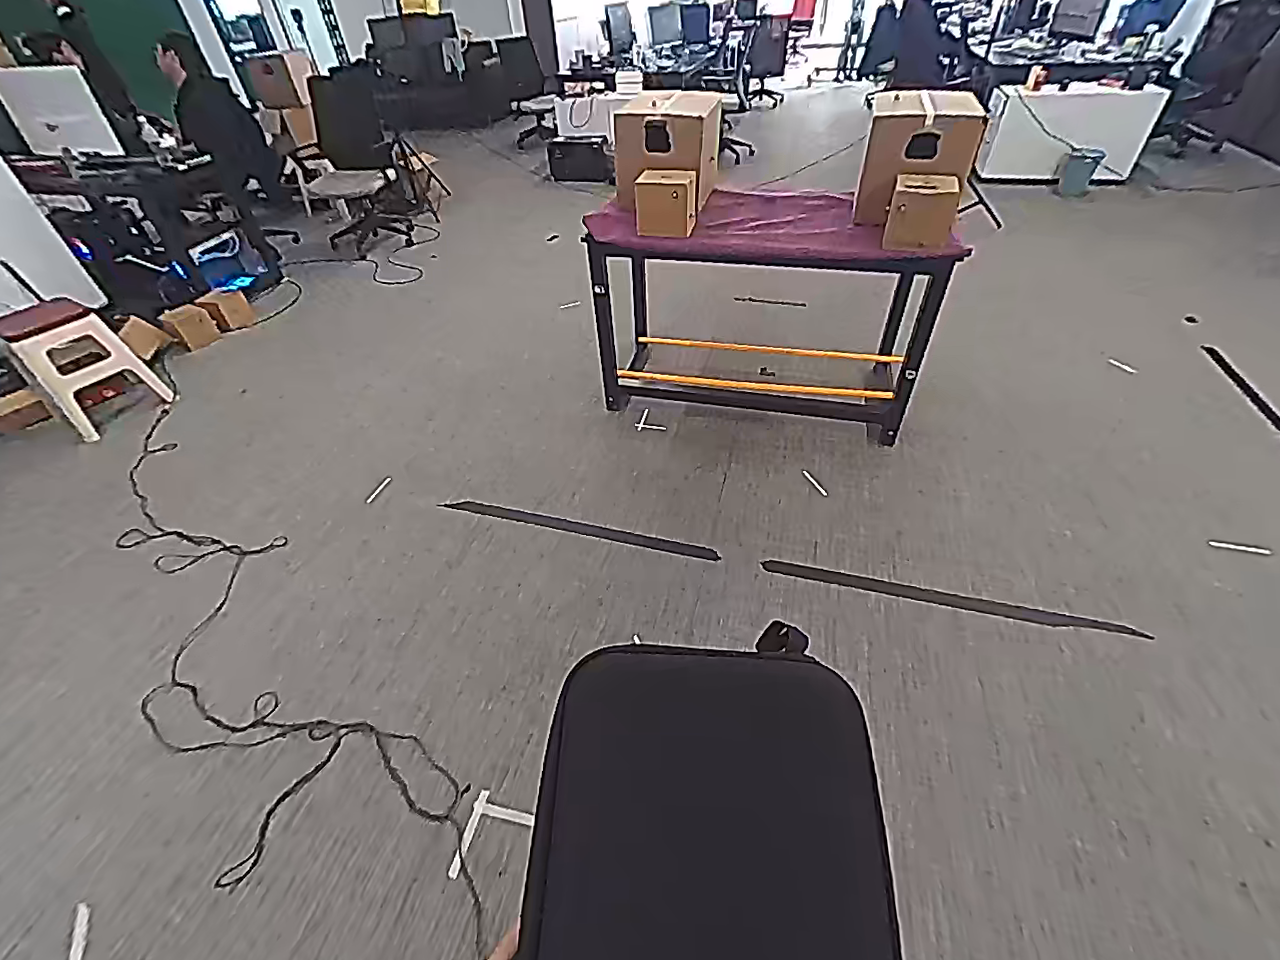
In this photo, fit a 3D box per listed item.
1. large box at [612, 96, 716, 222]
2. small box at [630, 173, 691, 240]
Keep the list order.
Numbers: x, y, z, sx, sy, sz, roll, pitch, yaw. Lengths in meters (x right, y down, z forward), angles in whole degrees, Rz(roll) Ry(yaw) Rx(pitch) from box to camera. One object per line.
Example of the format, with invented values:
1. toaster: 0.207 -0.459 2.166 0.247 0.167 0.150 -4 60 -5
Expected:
1. large box: 0.097 -1.209 2.027 0.320 0.320 0.408 9 47 11
2. small box: 0.073 -0.925 1.827 0.179 0.176 0.168 7 43 11
